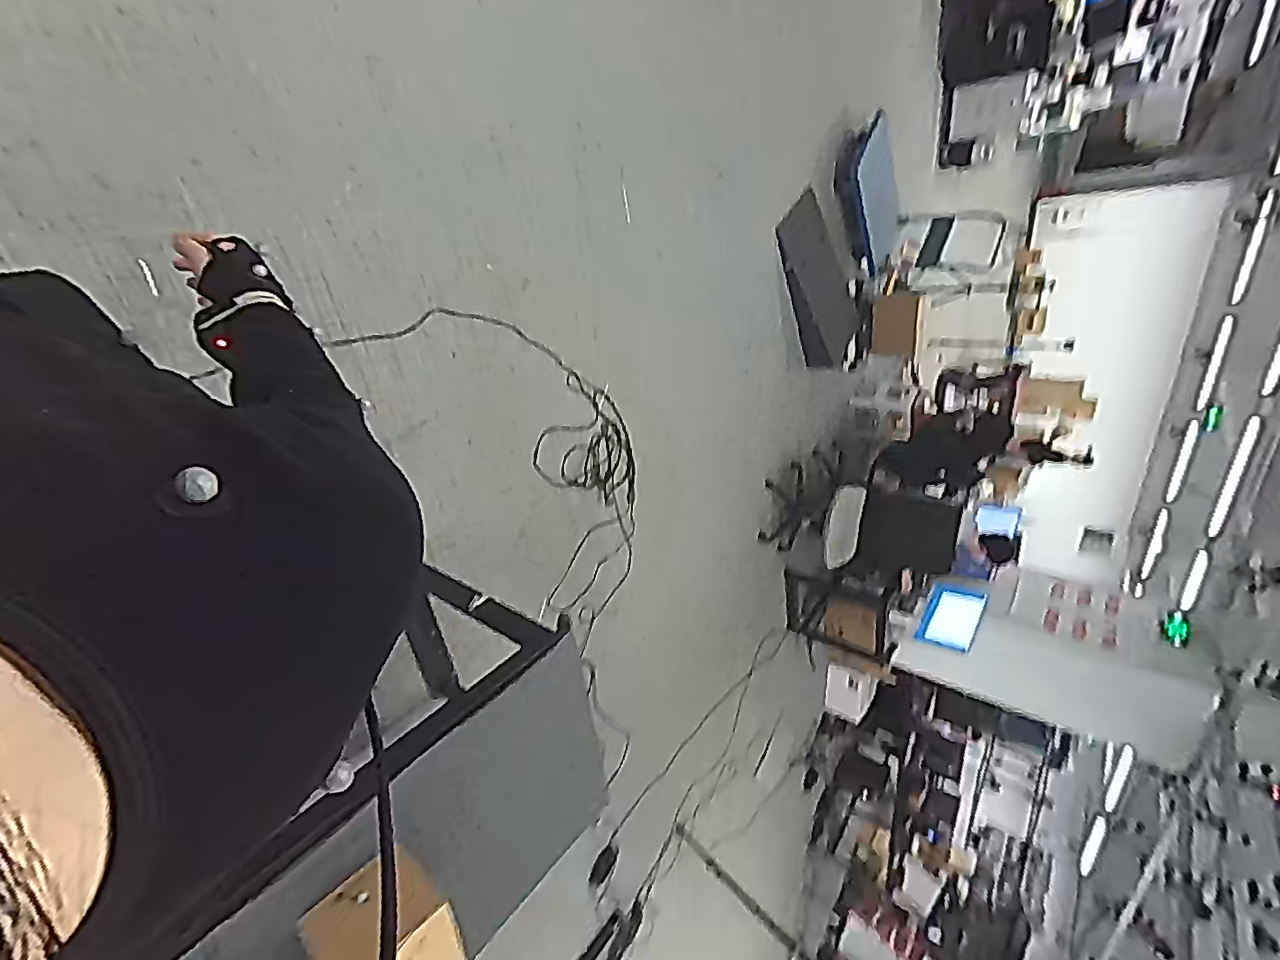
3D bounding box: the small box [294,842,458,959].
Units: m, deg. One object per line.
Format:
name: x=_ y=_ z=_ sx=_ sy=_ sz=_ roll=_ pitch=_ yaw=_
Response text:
small box: x=-0.429 y=0.750 z=0.886 sx=0.168 sy=0.176 sz=0.179 roll=-28 pitch=122 yaw=-45
